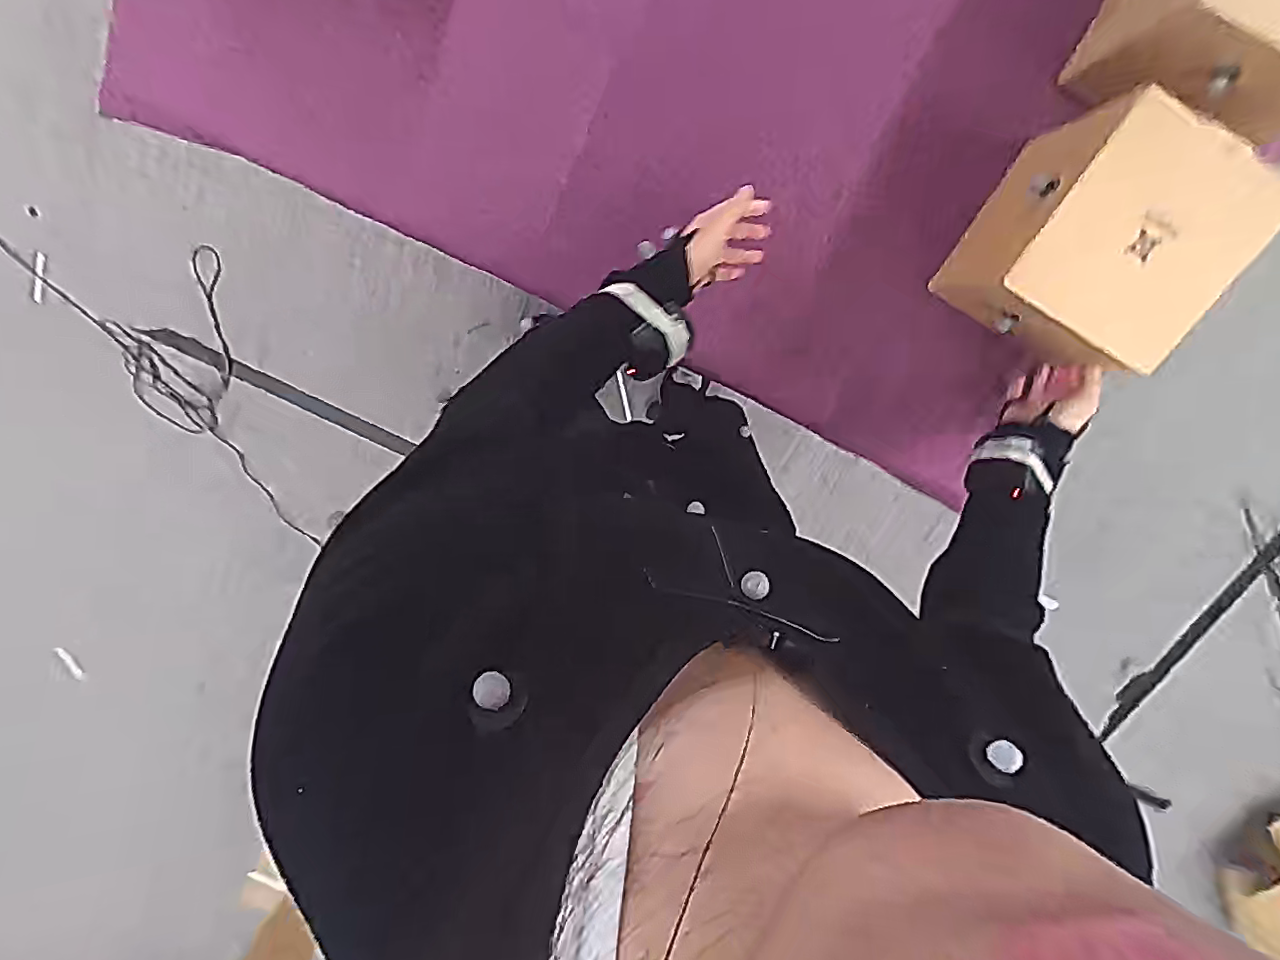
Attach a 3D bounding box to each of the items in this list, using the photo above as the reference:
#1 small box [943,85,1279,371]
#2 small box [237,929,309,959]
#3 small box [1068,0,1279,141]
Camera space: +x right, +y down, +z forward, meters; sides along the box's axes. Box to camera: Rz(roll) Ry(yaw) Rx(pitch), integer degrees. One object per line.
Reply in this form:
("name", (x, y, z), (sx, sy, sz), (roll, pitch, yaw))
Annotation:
("small box", (0.443, -0.232, 0.542), (0.168, 0.176, 0.179), (30, 107, -4))
("small box", (-1.046, 1.384, 1.475), (0.168, 0.176, 0.179), (30, 107, -5))
("small box", (0.537, -0.419, 0.465), (0.179, 0.176, 0.168), (26, 109, -4))
